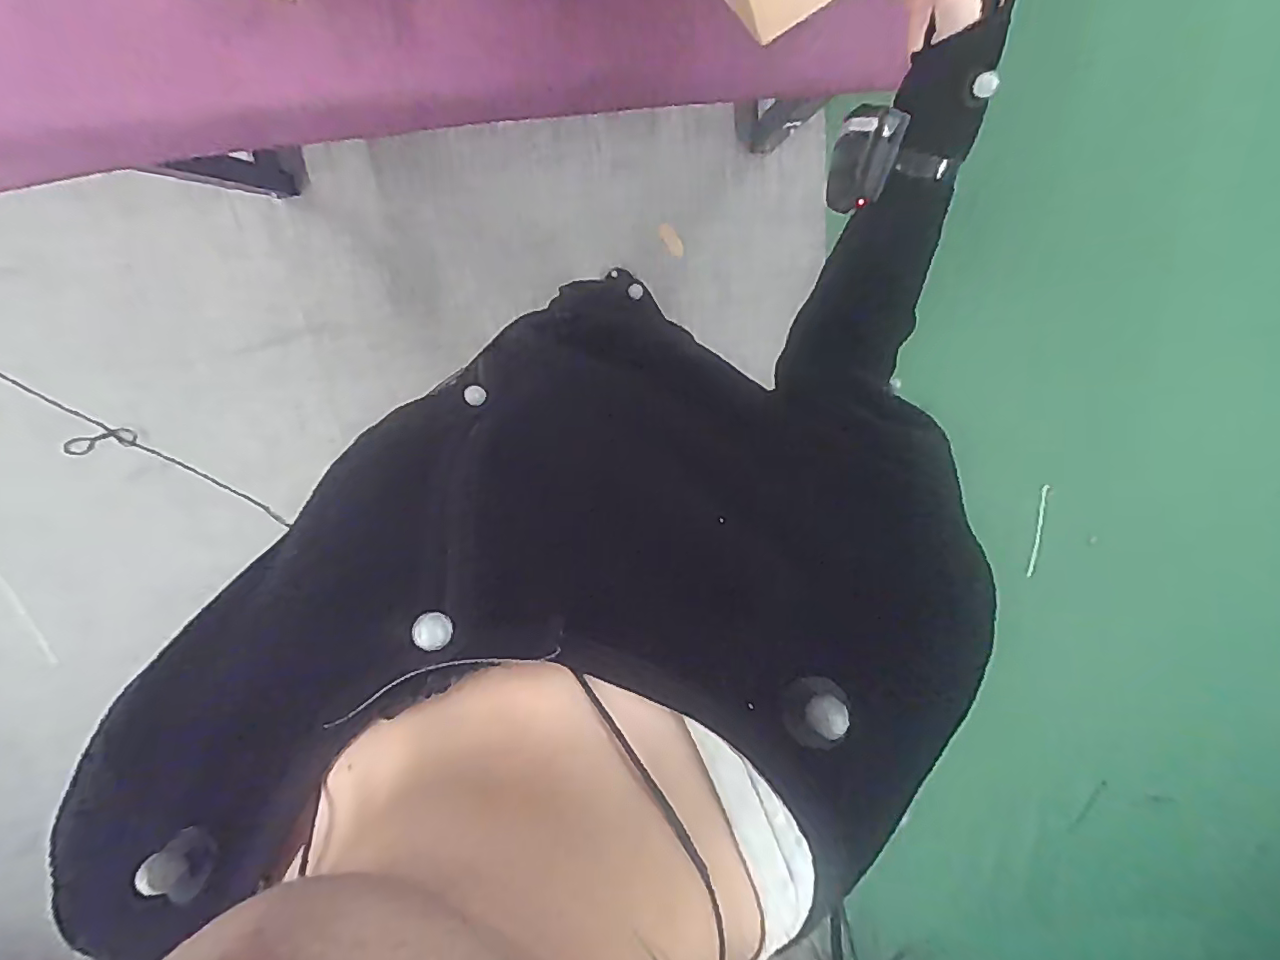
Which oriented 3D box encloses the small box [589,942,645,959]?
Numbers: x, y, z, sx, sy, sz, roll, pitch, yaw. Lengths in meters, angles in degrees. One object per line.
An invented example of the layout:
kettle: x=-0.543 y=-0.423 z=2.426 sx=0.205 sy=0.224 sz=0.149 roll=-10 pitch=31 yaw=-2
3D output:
small box: x=-0.060 y=1.522 z=1.602 sx=0.168 sy=0.176 sz=0.179 roll=-10 pitch=111 yaw=1
